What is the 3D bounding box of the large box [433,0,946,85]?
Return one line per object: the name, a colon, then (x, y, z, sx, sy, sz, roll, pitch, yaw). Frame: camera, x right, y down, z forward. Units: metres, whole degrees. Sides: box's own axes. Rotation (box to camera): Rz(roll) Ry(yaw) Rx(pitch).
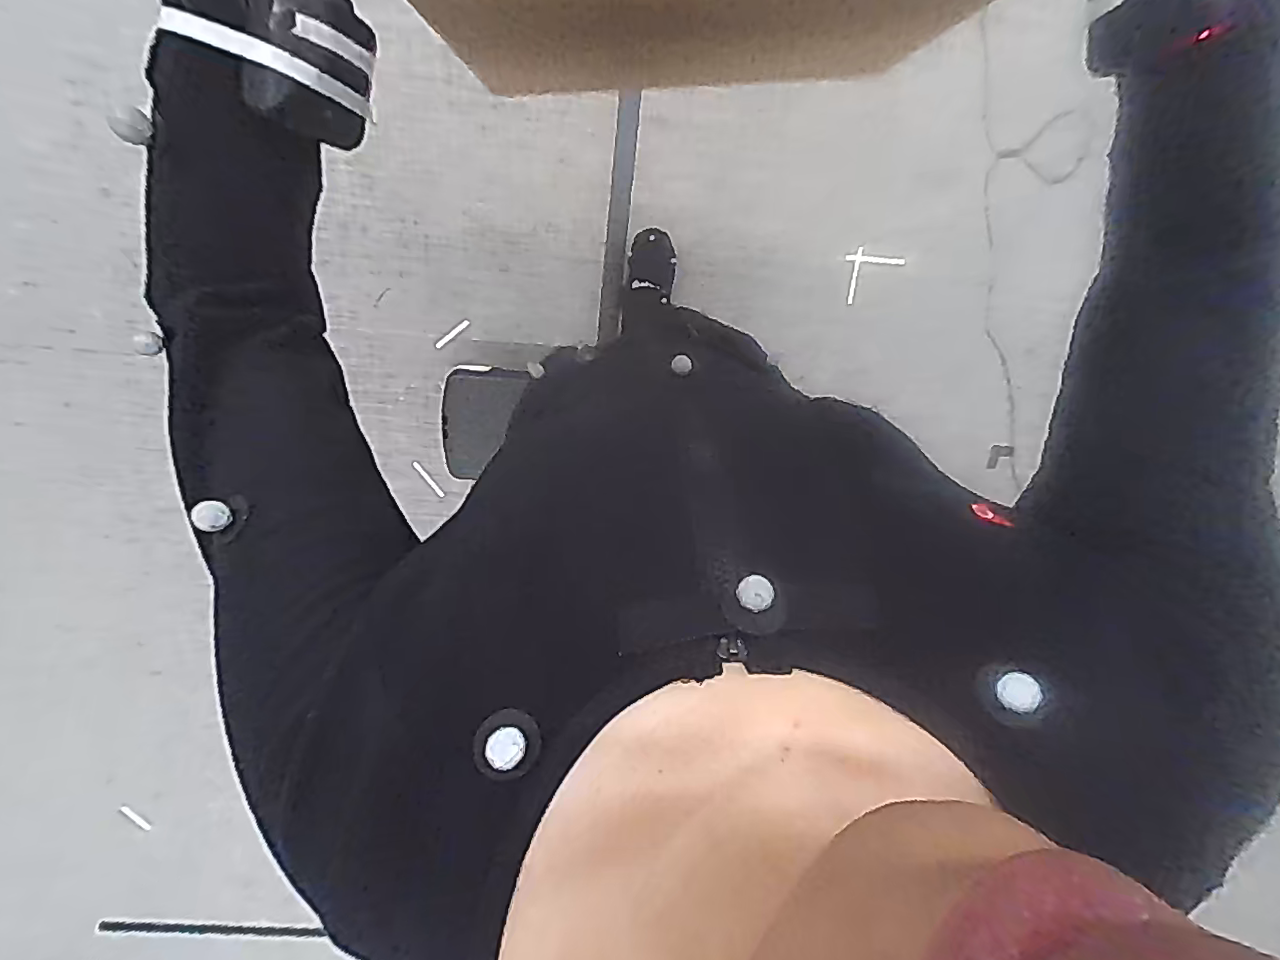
large box: (0.041, -0.496, 0.355, 0.408, 0.320, 0.320, -4, 115, 0)
